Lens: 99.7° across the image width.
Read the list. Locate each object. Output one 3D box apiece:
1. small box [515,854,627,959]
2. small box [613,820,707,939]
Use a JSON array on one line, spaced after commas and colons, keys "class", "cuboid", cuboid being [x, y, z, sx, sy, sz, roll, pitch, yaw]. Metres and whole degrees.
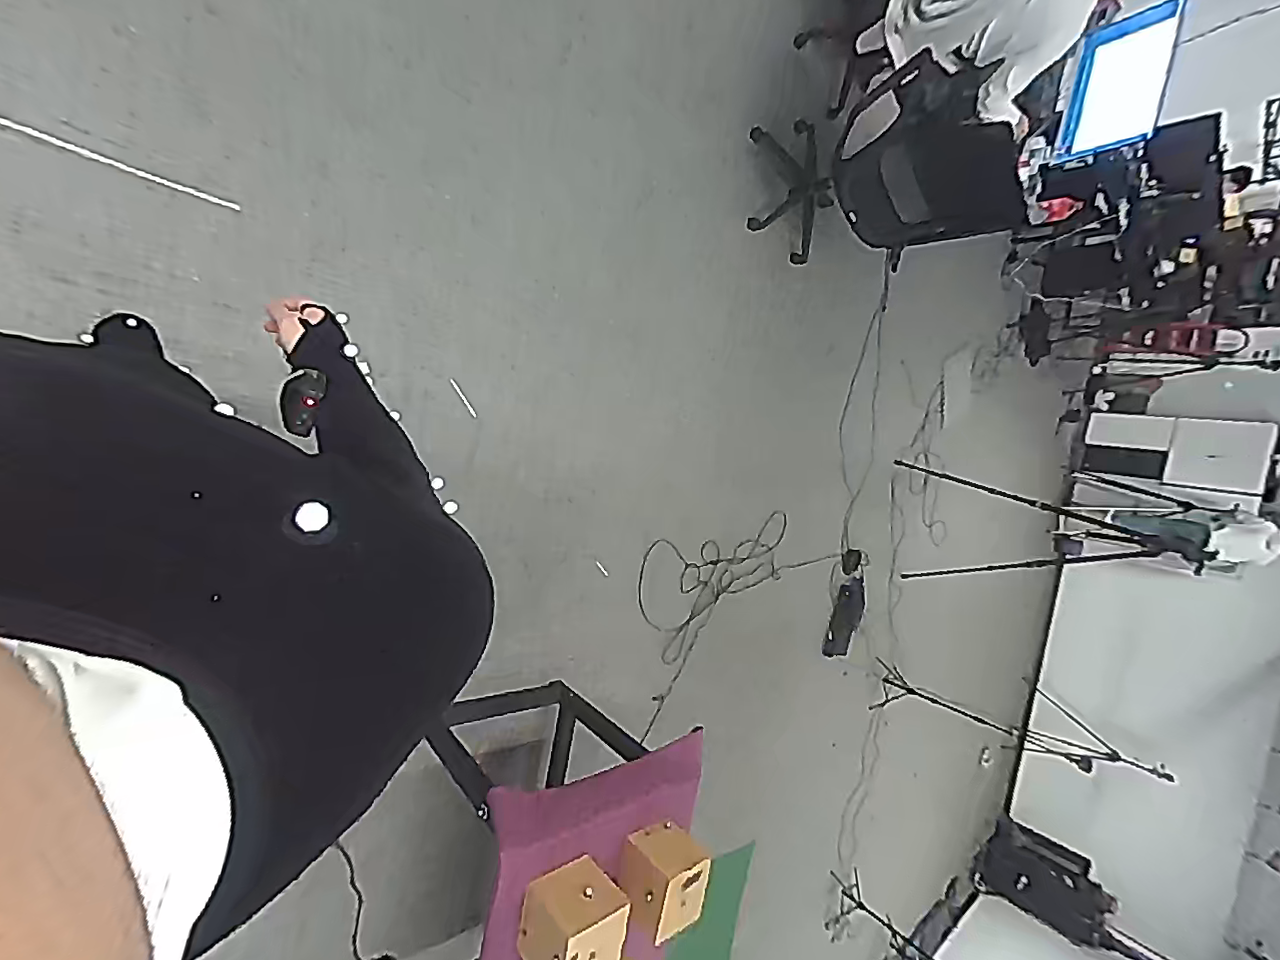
[{"class": "small box", "cuboid": [-0.160, 1.011, 1.242, 0.179, 0.176, 0.168, 6, 95, -44]}, {"class": "small box", "cuboid": [0.049, 1.045, 1.441, 0.168, 0.176, 0.179, 9, 94, -42]}]
